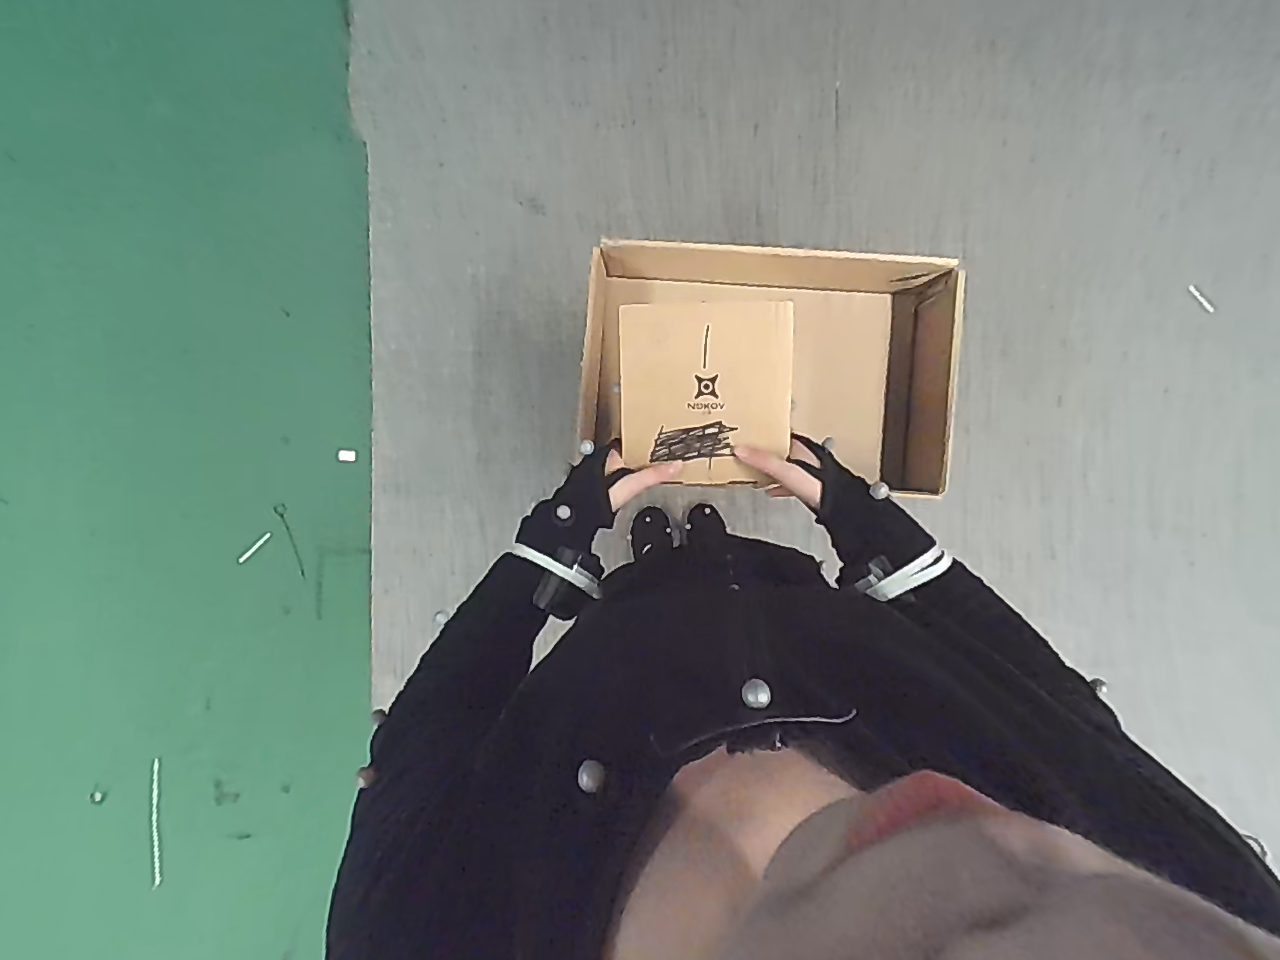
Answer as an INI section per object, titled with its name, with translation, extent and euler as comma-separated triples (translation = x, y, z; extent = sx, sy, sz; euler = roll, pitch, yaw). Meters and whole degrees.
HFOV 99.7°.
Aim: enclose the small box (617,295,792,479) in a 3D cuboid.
[small box]
translation = 0.065, -0.101, 0.599
extent = 0.168, 0.176, 0.179
euler = -1, 100, 3
